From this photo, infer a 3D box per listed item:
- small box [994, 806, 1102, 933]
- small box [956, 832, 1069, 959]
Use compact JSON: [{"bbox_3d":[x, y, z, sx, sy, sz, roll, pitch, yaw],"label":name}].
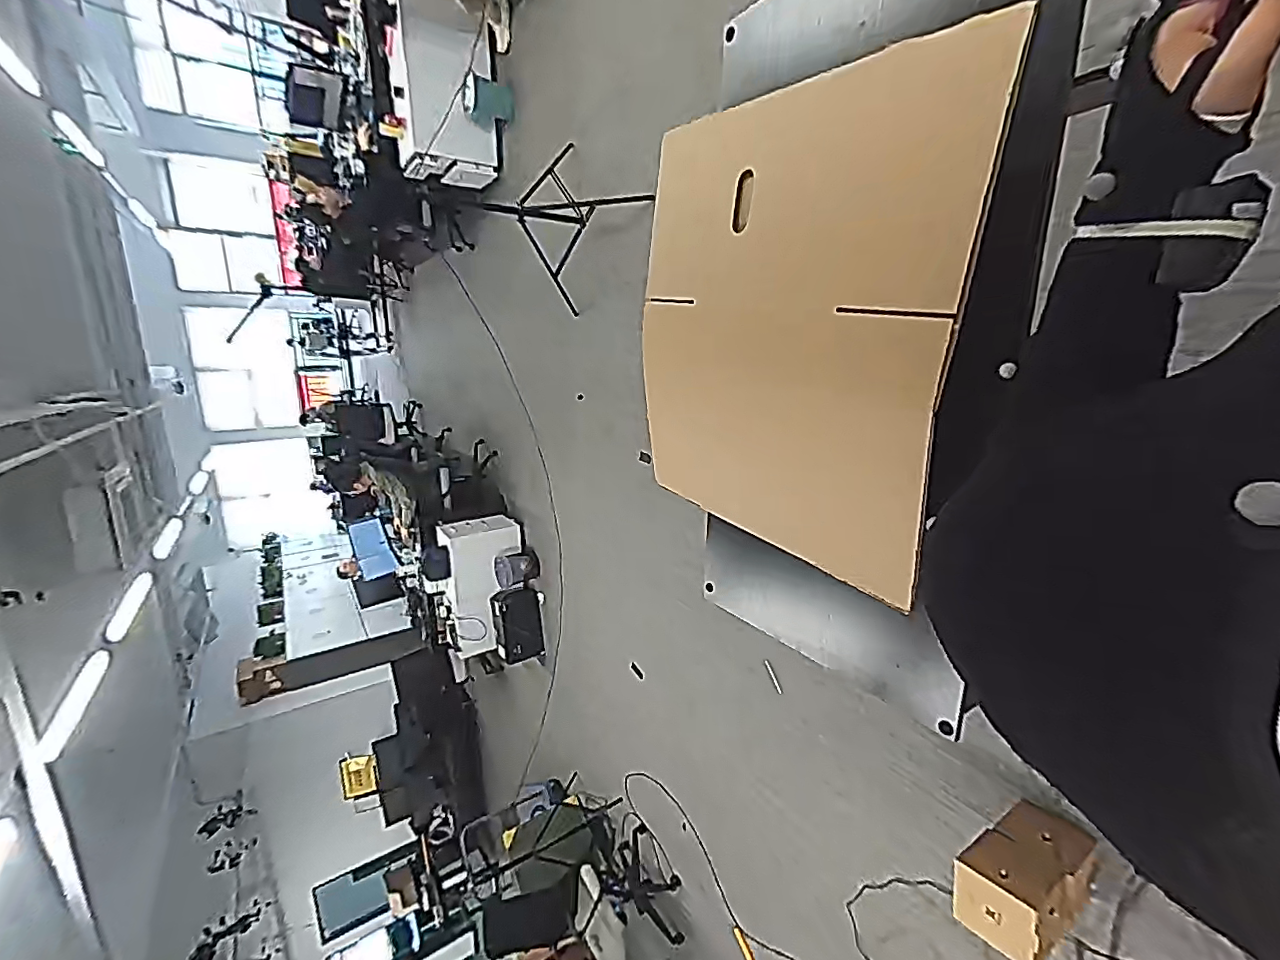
[{"bbox_3d":[1.025,0.969,1.370,0.179,0.176,0.168,13,109,55],"label":"small box"},{"bbox_3d":[0.886,0.990,1.288,0.179,0.176,0.168,10,105,57],"label":"small box"}]
